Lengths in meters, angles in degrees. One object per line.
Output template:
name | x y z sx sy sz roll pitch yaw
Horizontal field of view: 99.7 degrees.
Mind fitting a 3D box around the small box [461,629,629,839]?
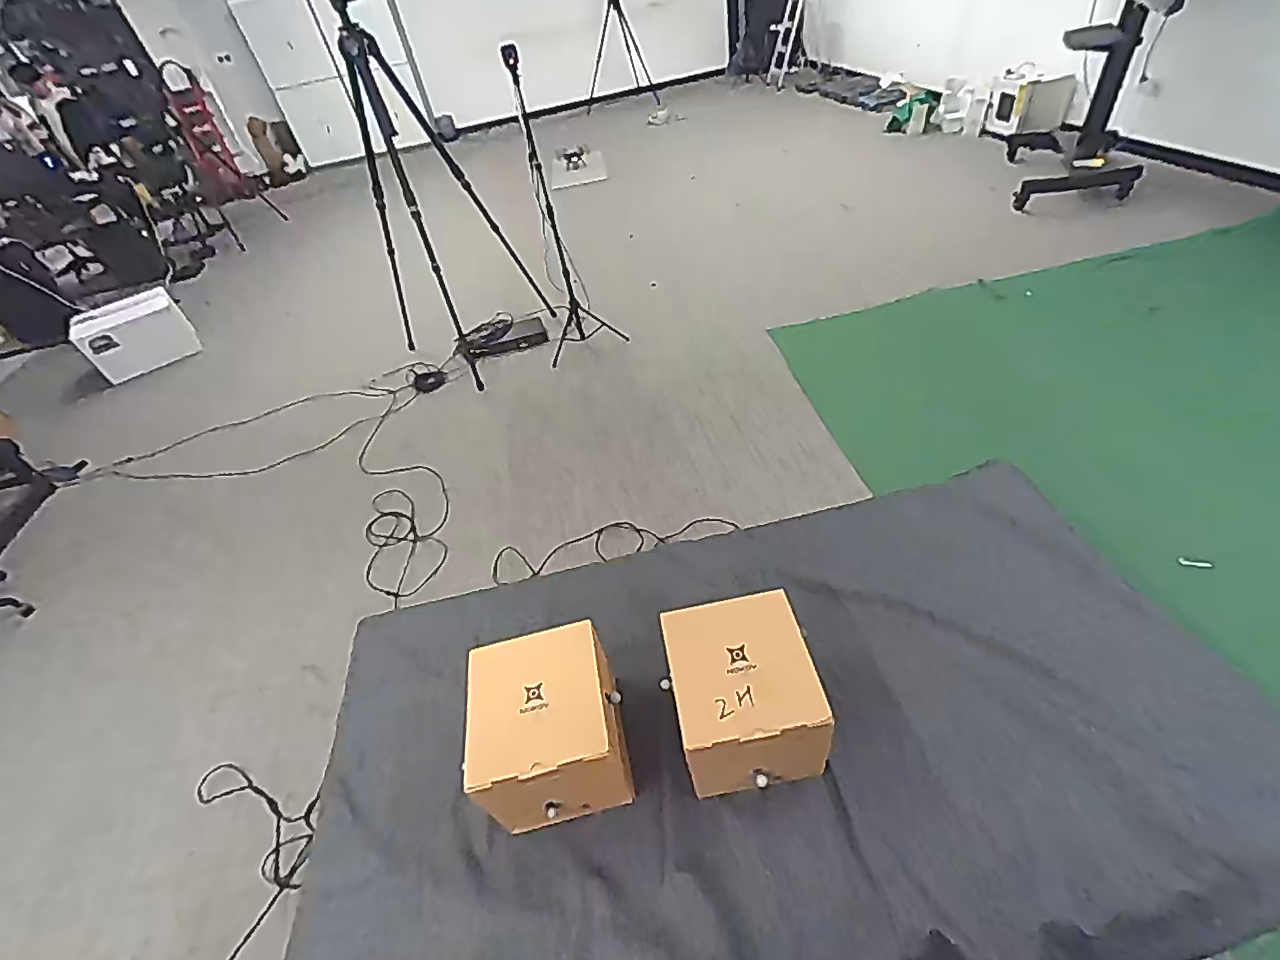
small box | -0.117 0.328 0.700 0.168 0.176 0.179 -14 43 -2

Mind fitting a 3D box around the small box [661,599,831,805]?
small box | 0.126 0.282 0.690 0.168 0.176 0.179 -11 43 1
